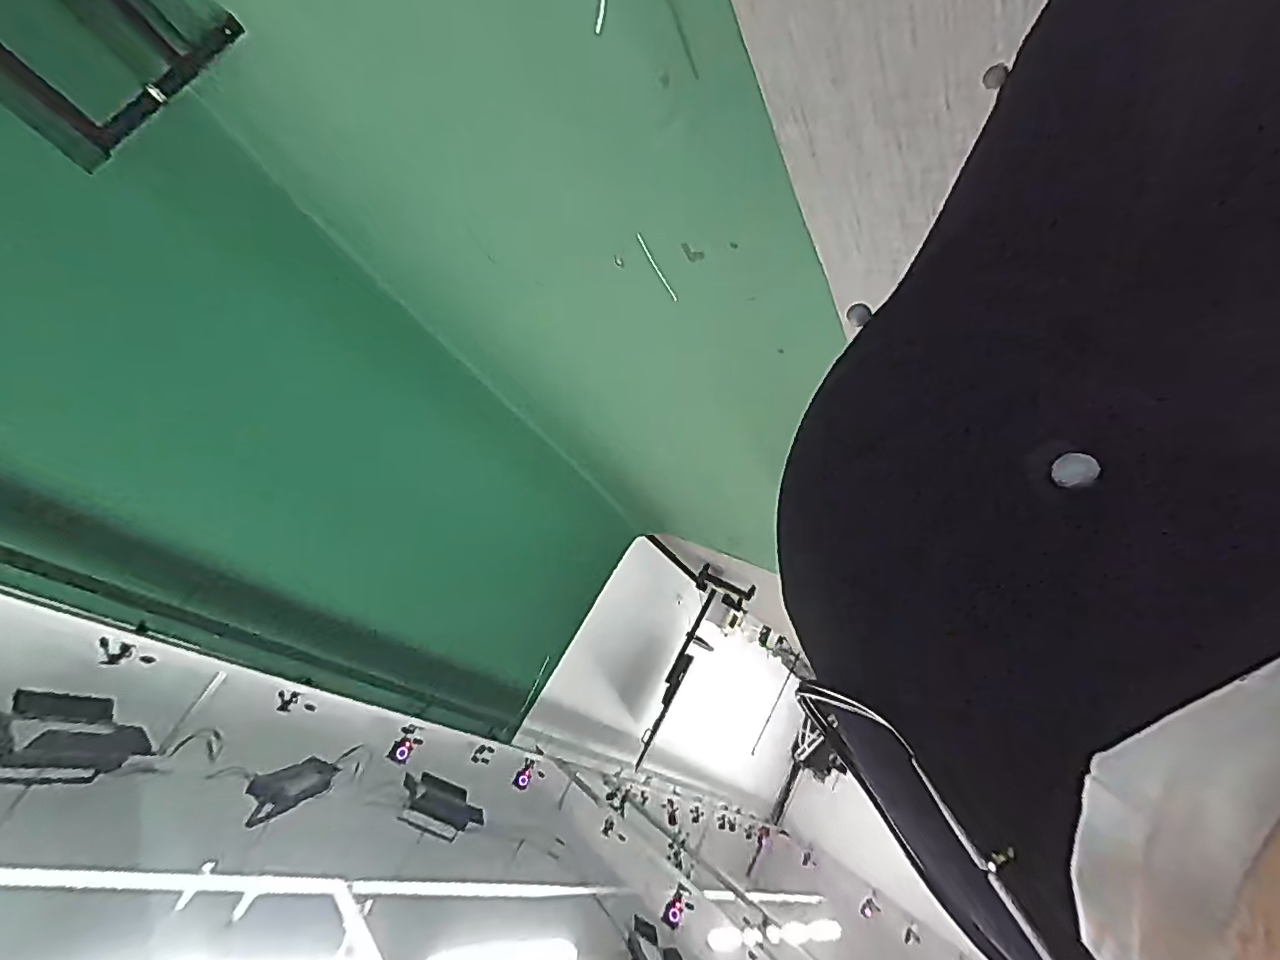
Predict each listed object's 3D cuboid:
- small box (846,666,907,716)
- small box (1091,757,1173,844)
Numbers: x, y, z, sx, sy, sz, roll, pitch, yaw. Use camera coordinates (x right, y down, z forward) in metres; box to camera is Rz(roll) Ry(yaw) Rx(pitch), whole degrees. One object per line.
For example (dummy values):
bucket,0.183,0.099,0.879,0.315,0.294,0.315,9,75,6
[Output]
small box,0.991,0.847,2.256,0.168,0.176,0.179,14,156,45
small box,1.546,1.002,1.701,0.168,0.176,0.179,14,157,47
